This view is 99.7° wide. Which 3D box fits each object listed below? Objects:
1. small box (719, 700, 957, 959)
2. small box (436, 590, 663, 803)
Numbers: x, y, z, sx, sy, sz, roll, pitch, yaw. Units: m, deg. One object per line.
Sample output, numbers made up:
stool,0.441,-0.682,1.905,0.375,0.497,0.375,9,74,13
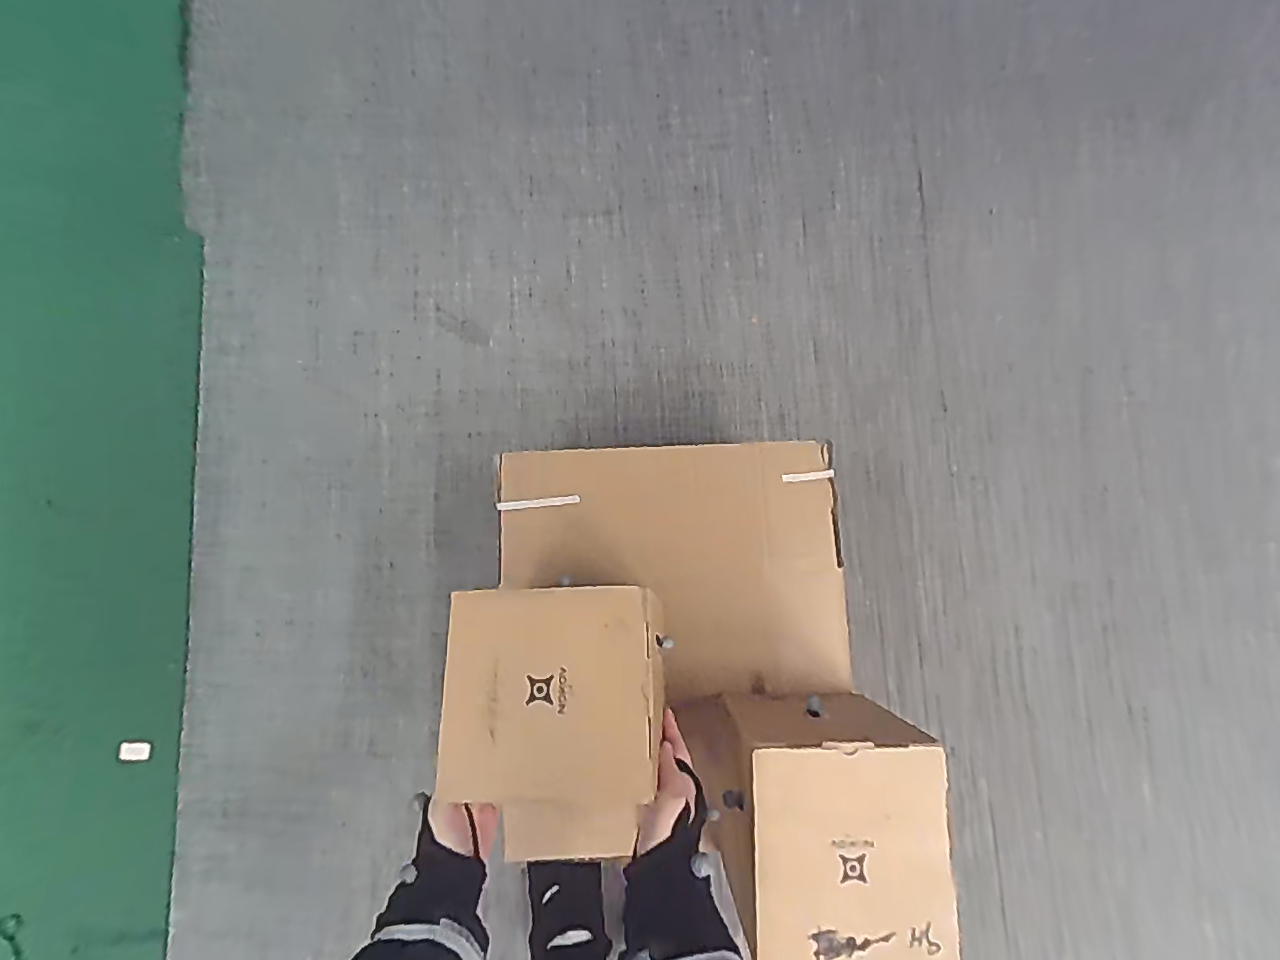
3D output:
small box,0.170,0.319,0.520,0.168,0.176,0.179,1,81,-1
small box,-0.068,0.197,0.522,0.179,0.176,0.168,-3,71,7
